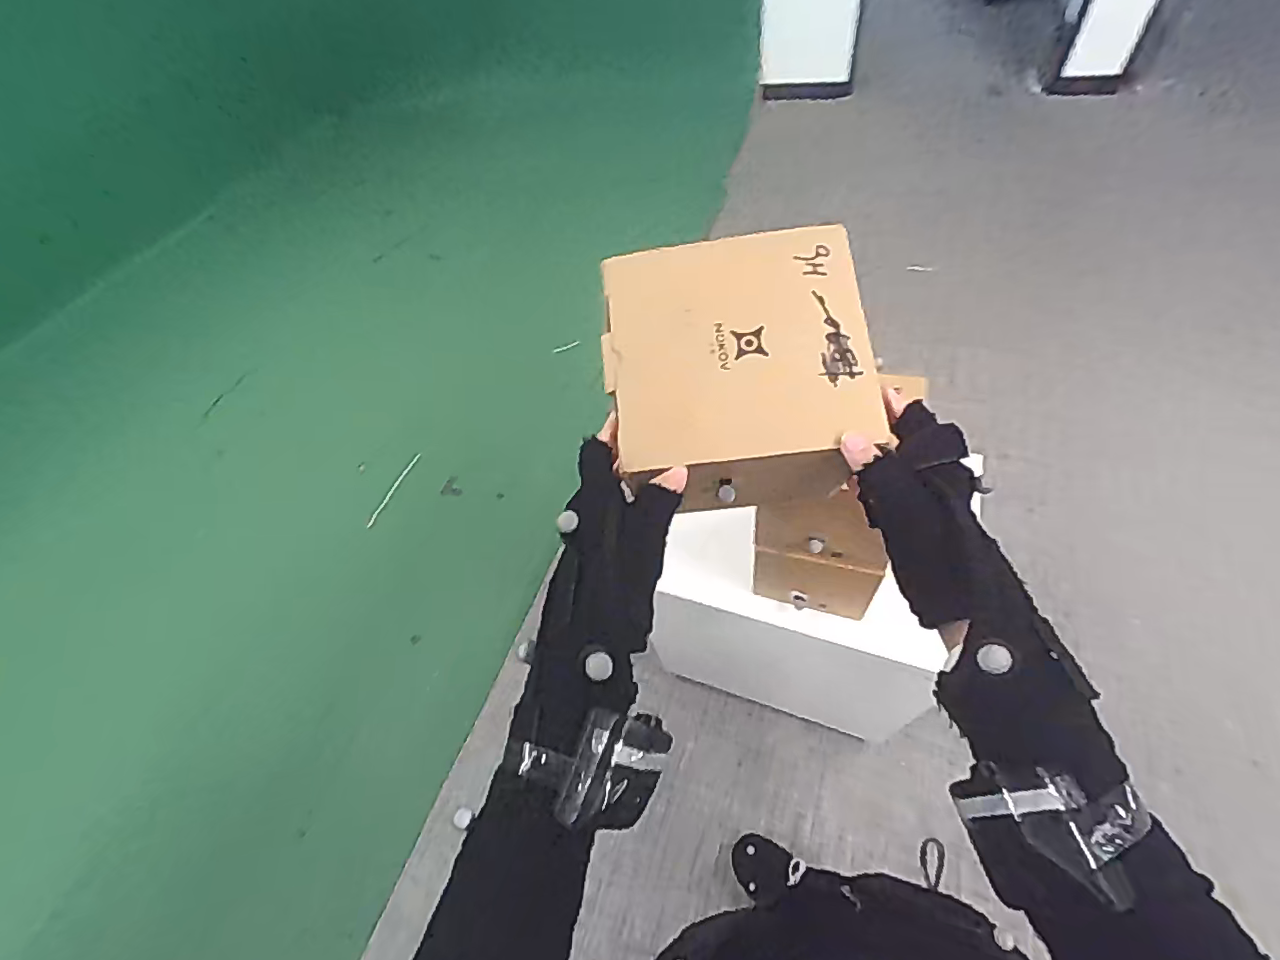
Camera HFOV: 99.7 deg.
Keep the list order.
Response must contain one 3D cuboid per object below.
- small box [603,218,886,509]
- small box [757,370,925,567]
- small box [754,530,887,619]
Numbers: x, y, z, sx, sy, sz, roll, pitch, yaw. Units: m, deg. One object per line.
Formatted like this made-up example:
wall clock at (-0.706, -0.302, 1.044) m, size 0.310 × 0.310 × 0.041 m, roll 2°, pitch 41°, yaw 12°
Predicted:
small box at (0.074, -0.075, 0.440) m, size 0.179 × 0.176 × 0.168 m, roll -5°, pitch 76°, yaw 7°
small box at (0.237, -0.017, 0.662) m, size 0.168 × 0.176 × 0.179 m, roll 7°, pitch 56°, yaw 16°
small box at (0.265, 0.079, 0.793) m, size 0.168 × 0.176 × 0.179 m, roll 9°, pitch 60°, yaw 18°
